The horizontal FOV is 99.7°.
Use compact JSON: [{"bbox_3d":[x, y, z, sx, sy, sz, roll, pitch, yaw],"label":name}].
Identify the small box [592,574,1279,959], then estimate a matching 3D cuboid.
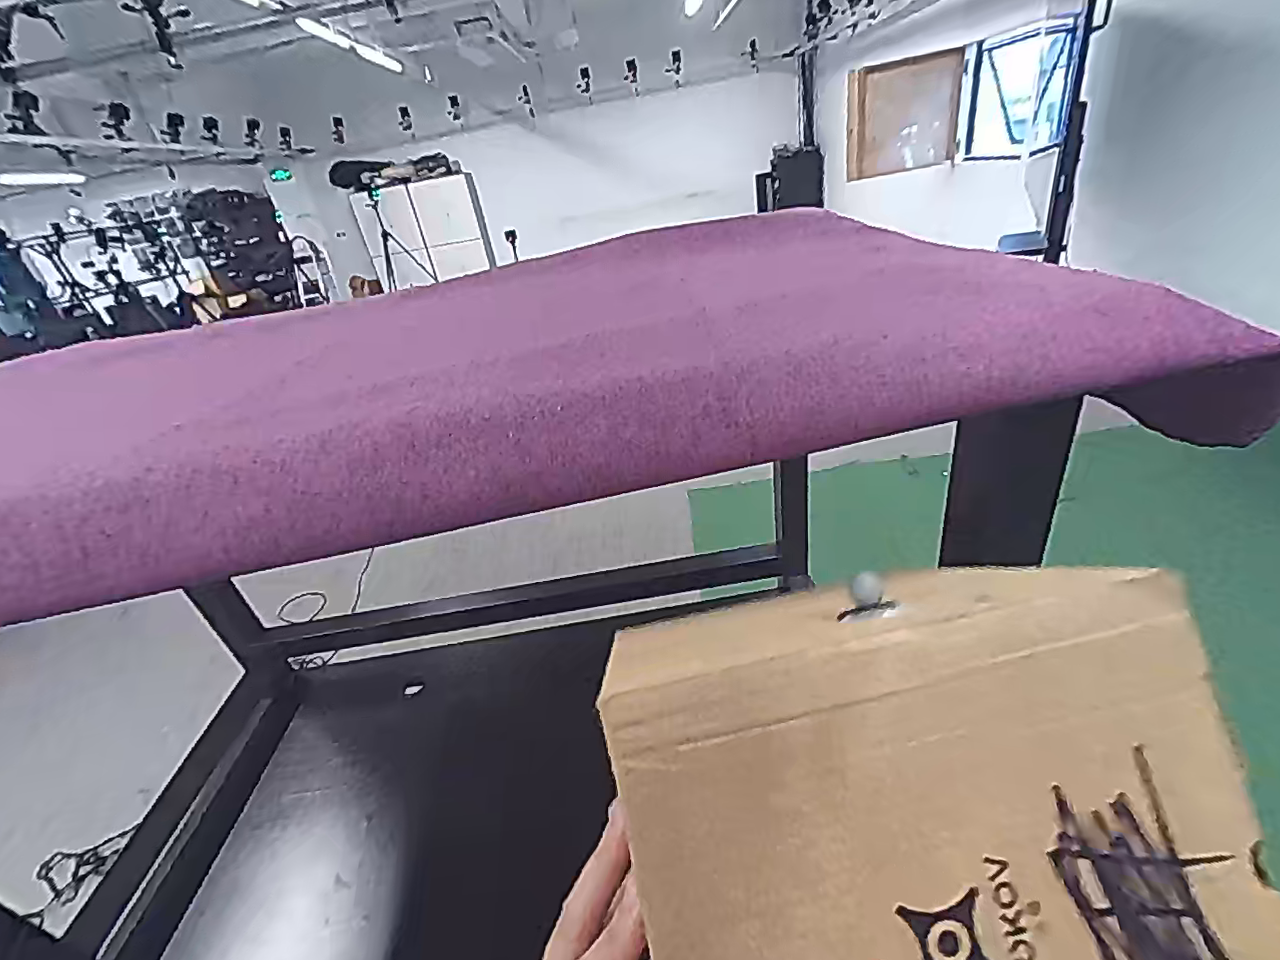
[{"bbox_3d":[0.085,0.135,0.224,0.179,0.168,0.176,-11,-12,-1],"label":"small box"}]
